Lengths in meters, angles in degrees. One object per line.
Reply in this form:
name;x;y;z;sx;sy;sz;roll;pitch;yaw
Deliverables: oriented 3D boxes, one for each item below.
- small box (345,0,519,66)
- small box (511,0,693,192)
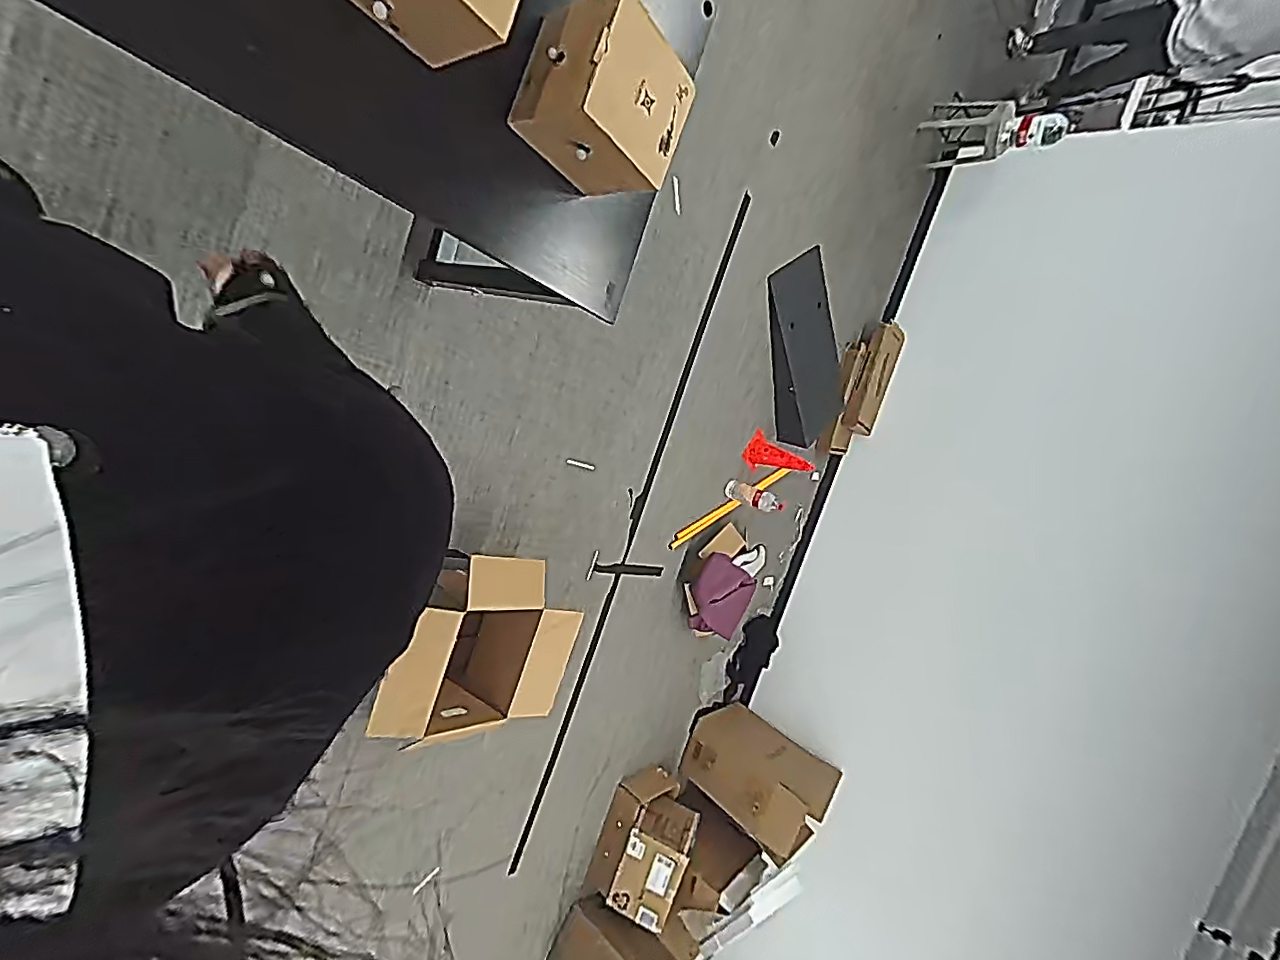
small box;-0.228;-0.591;0.572;0.168;0.176;0.179;15;97;-51
small box;-0.058;-0.545;0.791;0.179;0.176;0.168;19;93;-50
